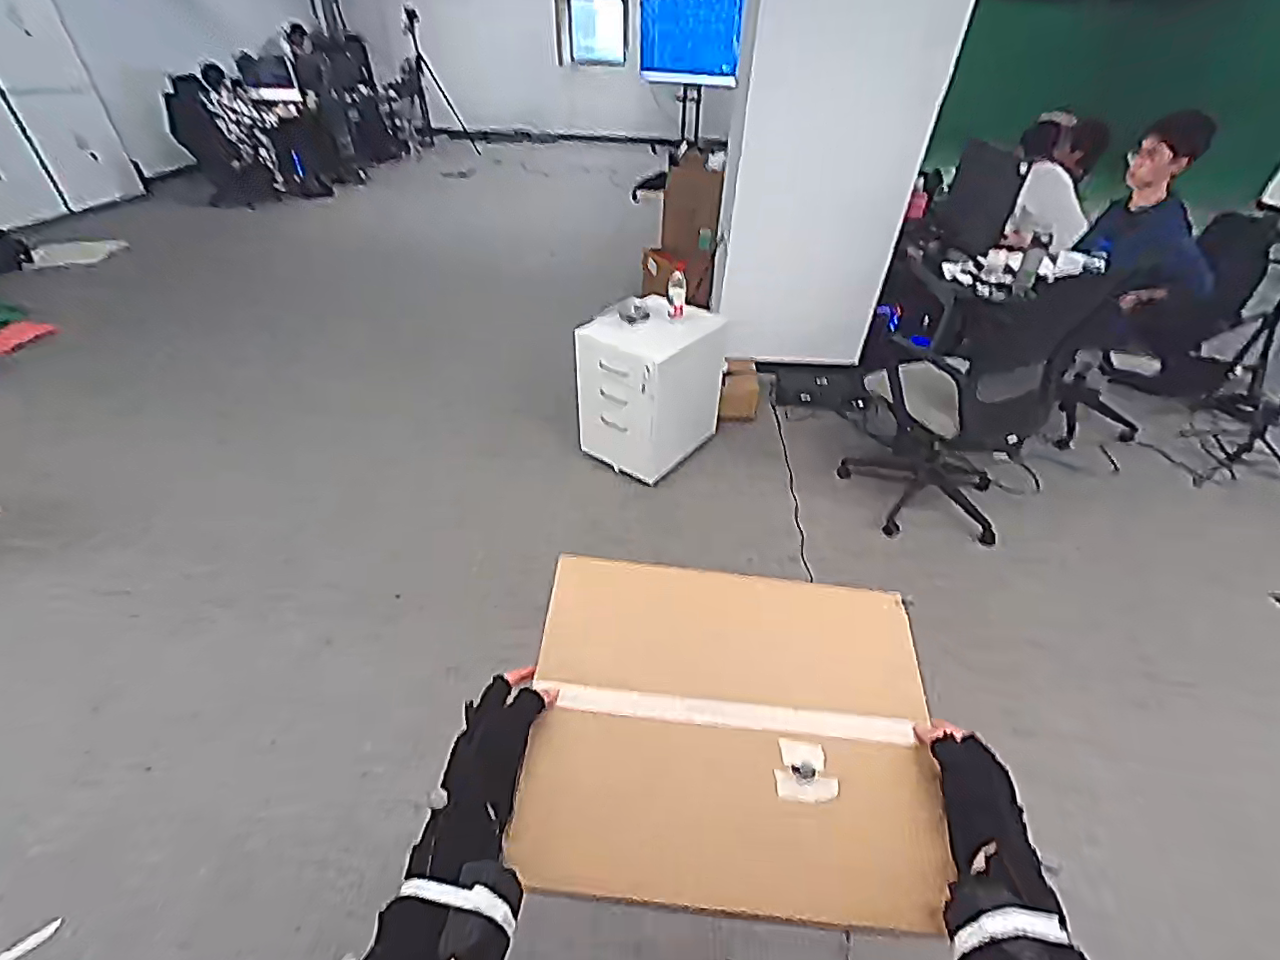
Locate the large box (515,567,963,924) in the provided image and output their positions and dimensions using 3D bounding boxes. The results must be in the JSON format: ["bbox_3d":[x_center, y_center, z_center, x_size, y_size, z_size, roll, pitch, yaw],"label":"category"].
[{"bbox_3d":[0.087,0.334,0.675,0.408,0.320,0.320,7,53,0],"label":"large box"}]
